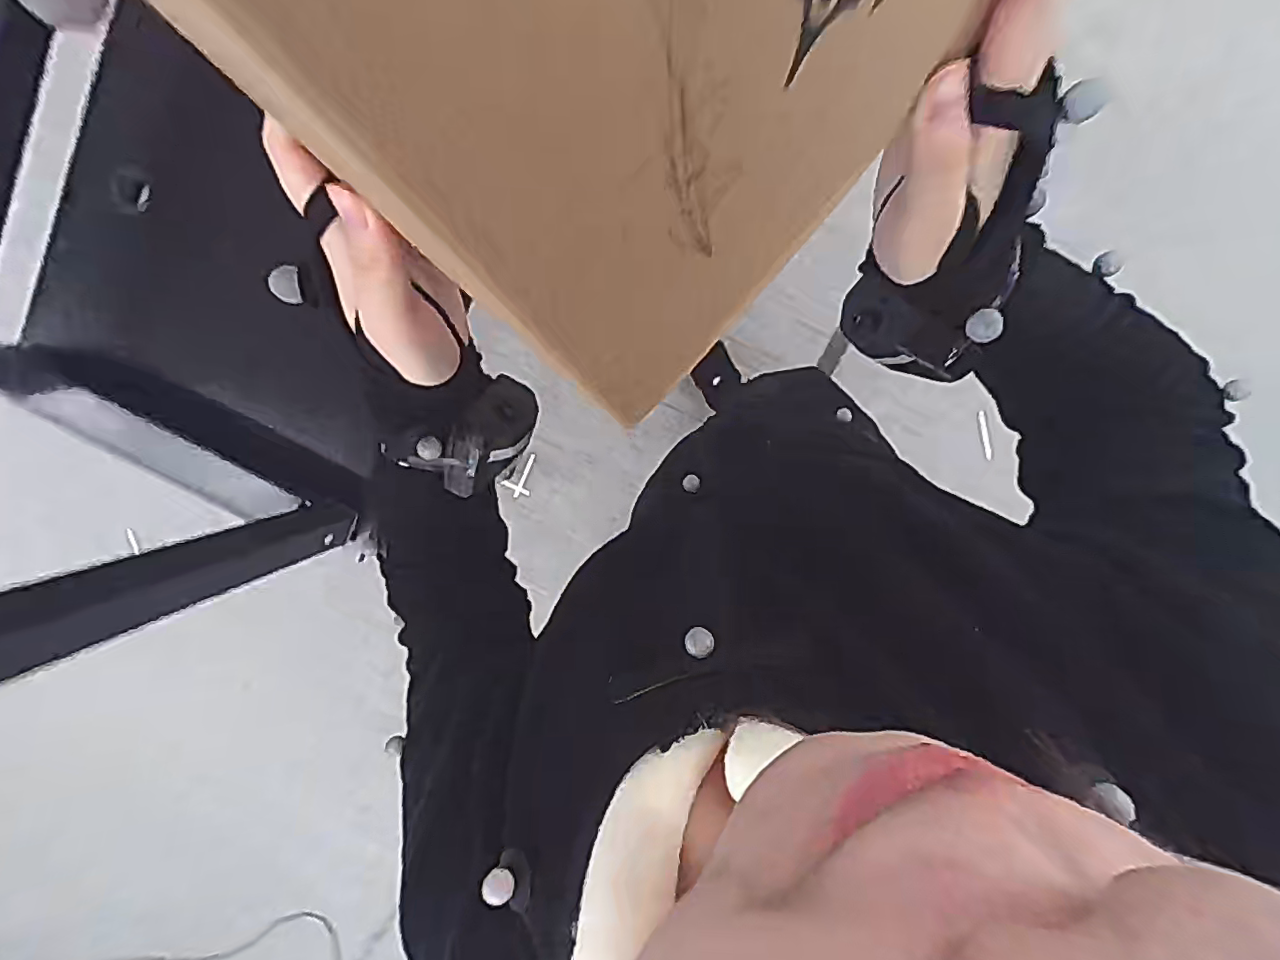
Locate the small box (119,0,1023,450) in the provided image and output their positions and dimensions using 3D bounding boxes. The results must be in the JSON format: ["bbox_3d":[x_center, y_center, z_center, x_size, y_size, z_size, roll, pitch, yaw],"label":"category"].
[{"bbox_3d":[-0.018,-0.137,0.112,0.176,0.168,0.179,43,91,14],"label":"small box"}]
